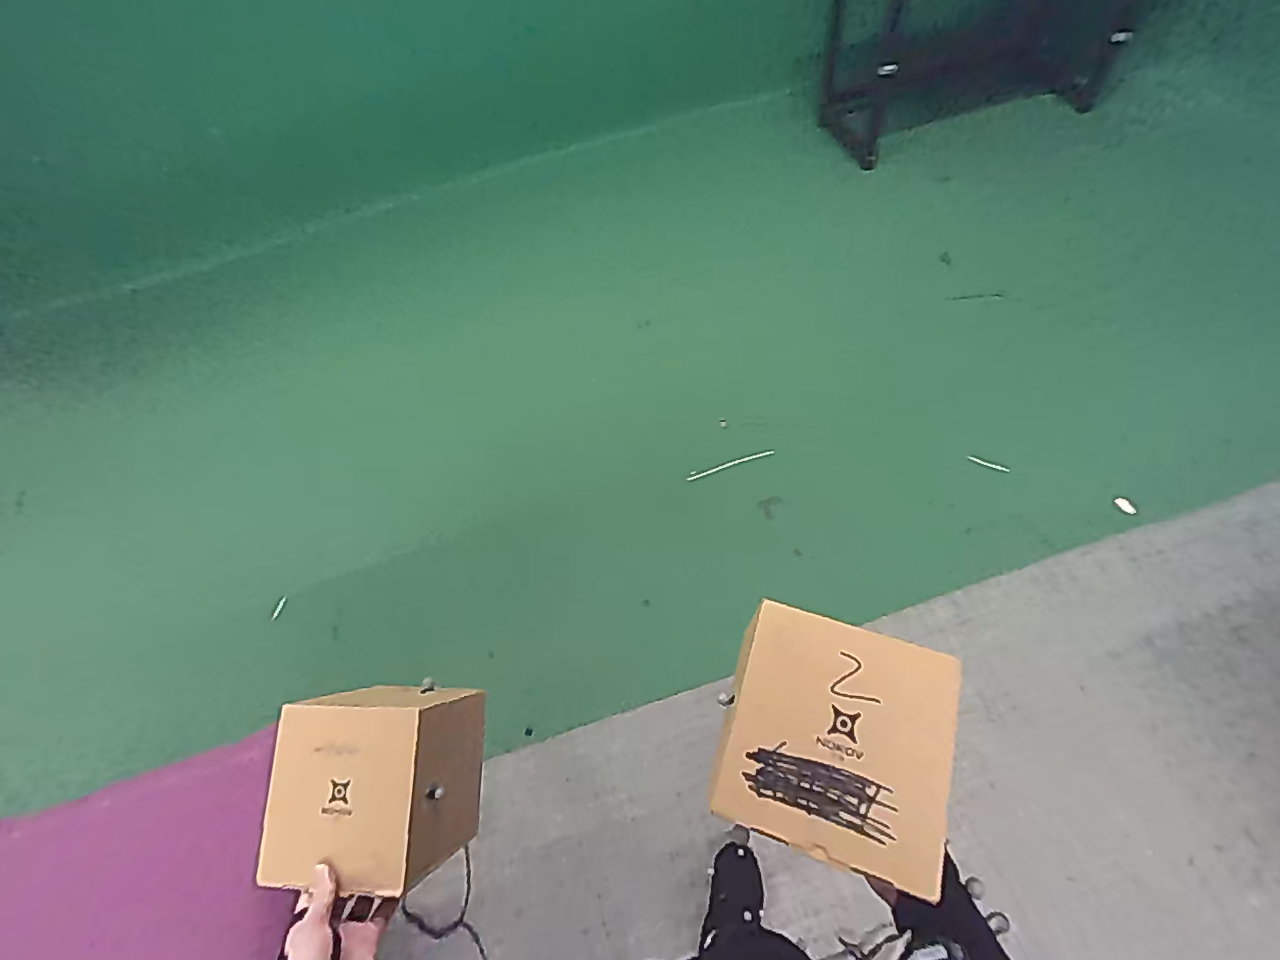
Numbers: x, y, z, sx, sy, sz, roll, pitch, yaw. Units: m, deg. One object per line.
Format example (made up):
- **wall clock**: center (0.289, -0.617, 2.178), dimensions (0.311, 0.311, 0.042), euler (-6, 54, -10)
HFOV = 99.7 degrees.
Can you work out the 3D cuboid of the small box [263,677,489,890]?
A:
- **small box**: center (-0.294, 0.339, 0.641), dimensions (0.168, 0.176, 0.179), euler (0, 76, 9)
